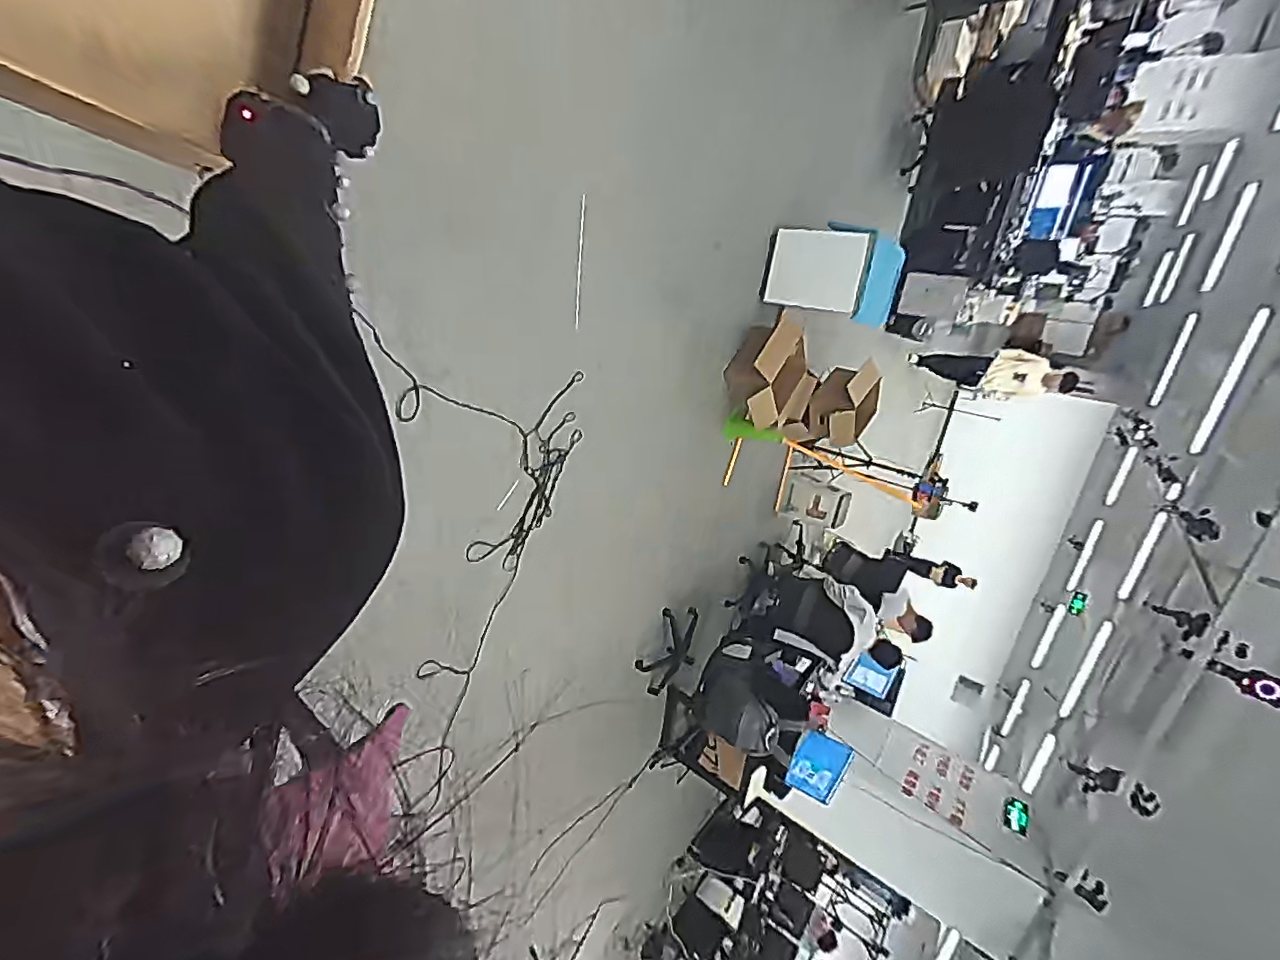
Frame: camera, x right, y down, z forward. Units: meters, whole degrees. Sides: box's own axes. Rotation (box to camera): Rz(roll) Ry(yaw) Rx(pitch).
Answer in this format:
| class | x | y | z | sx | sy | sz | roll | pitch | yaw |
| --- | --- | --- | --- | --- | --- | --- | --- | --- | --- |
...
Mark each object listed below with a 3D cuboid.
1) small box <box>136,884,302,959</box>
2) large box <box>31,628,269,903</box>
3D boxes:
| class | x | y | z | sx | sy | sz | roll | pitch | yaw |
| --- | --- | --- | --- | --- | --- | --- | --- | --- | --- |
| small box | -0.636 | 0.782 | 0.826 | 0.168 | 0.176 | 0.179 | -18 | 122 | -49 |
| large box | -1.123 | 0.633 | 1.258 | 0.320 | 0.320 | 0.408 | -19 | 122 | -50 |
